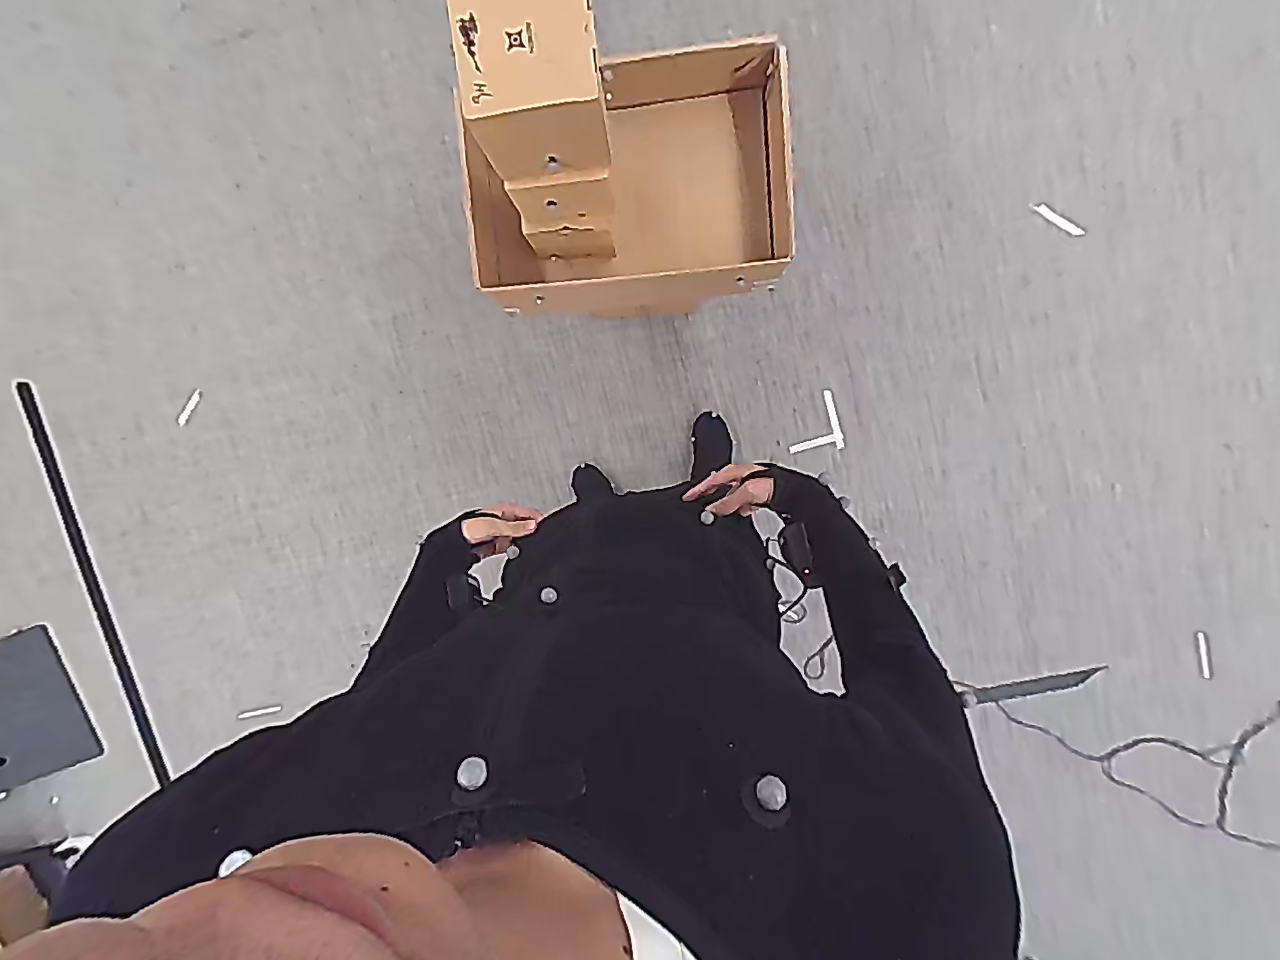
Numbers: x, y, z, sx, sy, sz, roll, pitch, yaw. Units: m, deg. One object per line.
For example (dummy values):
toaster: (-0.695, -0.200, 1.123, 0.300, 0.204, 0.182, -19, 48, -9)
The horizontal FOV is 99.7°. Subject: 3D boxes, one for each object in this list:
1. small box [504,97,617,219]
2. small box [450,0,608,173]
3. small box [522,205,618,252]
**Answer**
small box: (-0.131, -0.556, 0.903, 0.168, 0.176, 0.179, -5, 95, 3)
small box: (-0.138, -0.550, 0.740, 0.179, 0.176, 0.168, -6, 95, 2)
small box: (-0.133, -0.561, 1.066, 0.168, 0.176, 0.179, -2, 95, 2)
